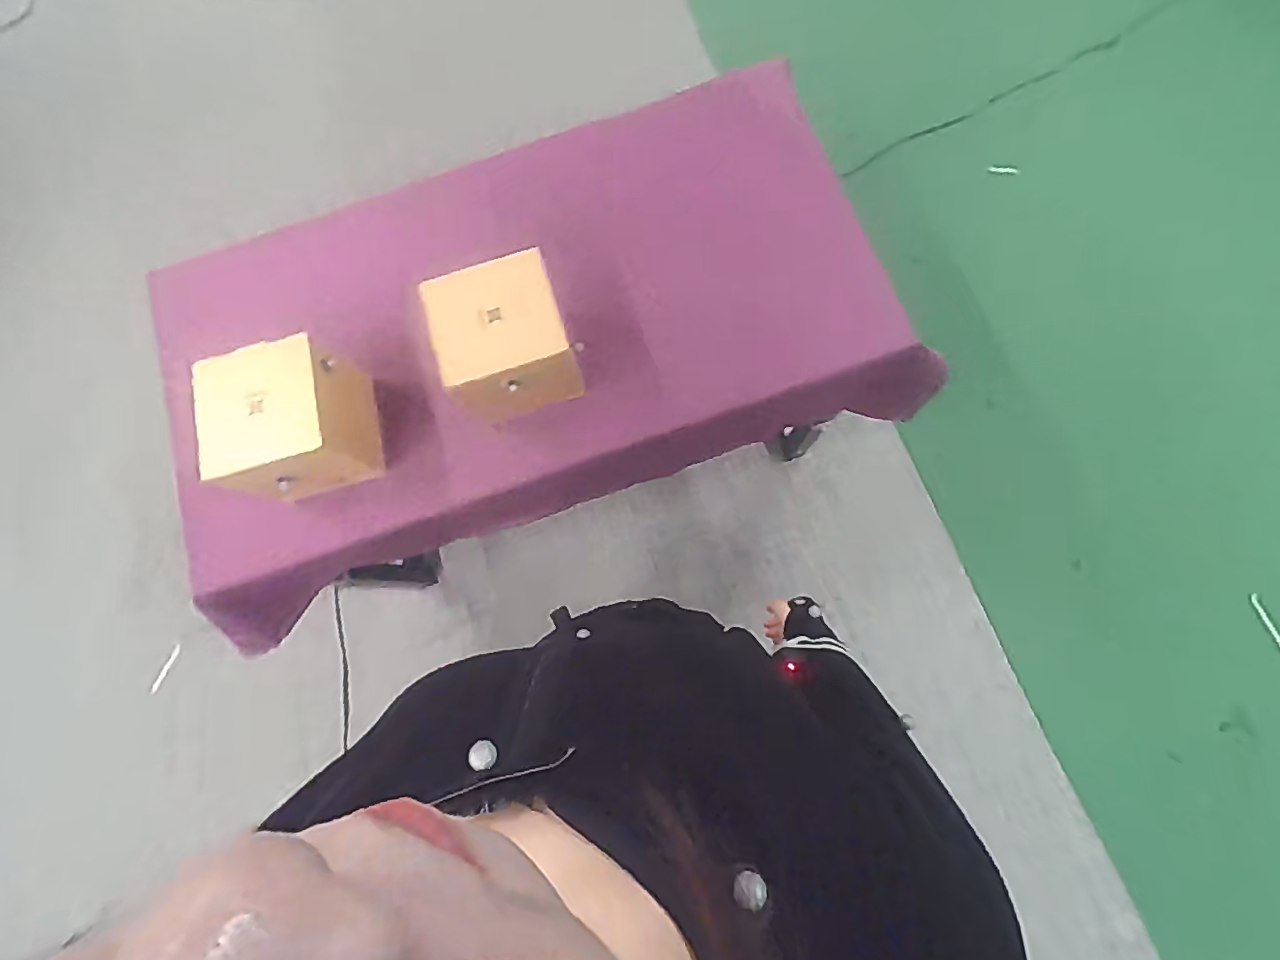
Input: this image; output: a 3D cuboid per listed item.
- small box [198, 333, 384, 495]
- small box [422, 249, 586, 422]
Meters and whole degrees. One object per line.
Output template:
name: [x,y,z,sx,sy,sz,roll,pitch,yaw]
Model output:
small box: [-0.507,-0.084,0.807,0.168,0.176,0.179,-16,76,0]
small box: [-0.195,-0.204,0.811,0.179,0.176,0.168,-17,77,0]
